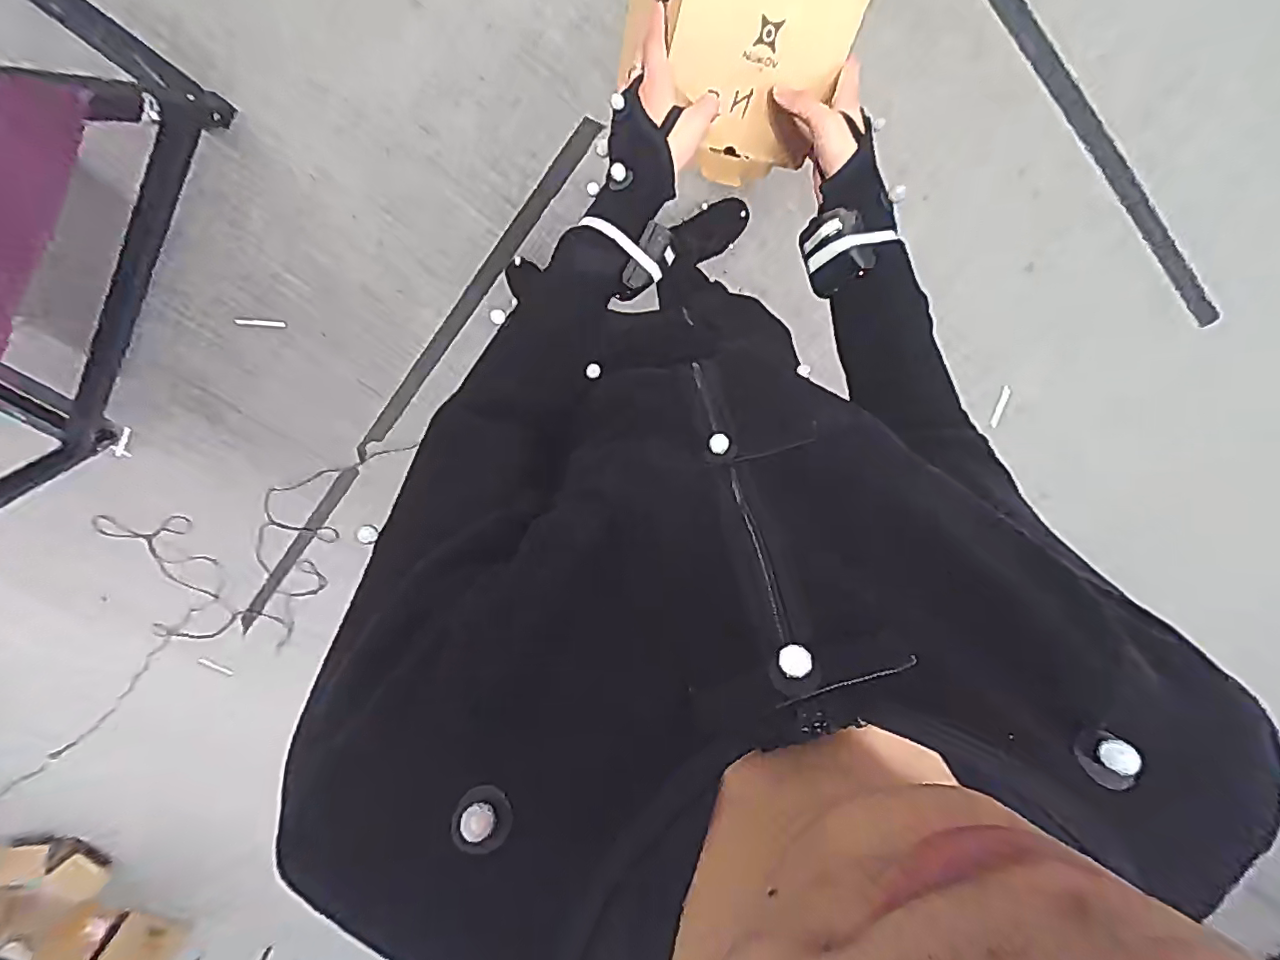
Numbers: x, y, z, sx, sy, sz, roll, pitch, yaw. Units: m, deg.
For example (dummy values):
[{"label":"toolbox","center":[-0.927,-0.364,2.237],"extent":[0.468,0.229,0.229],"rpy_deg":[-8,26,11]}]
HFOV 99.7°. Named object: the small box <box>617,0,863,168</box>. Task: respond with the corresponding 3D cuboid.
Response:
[{"label":"small box","center":[0.083,-0.437,0.521],"extent":[0.168,0.176,0.179],"rpy_deg":[1,136,-19]}]
